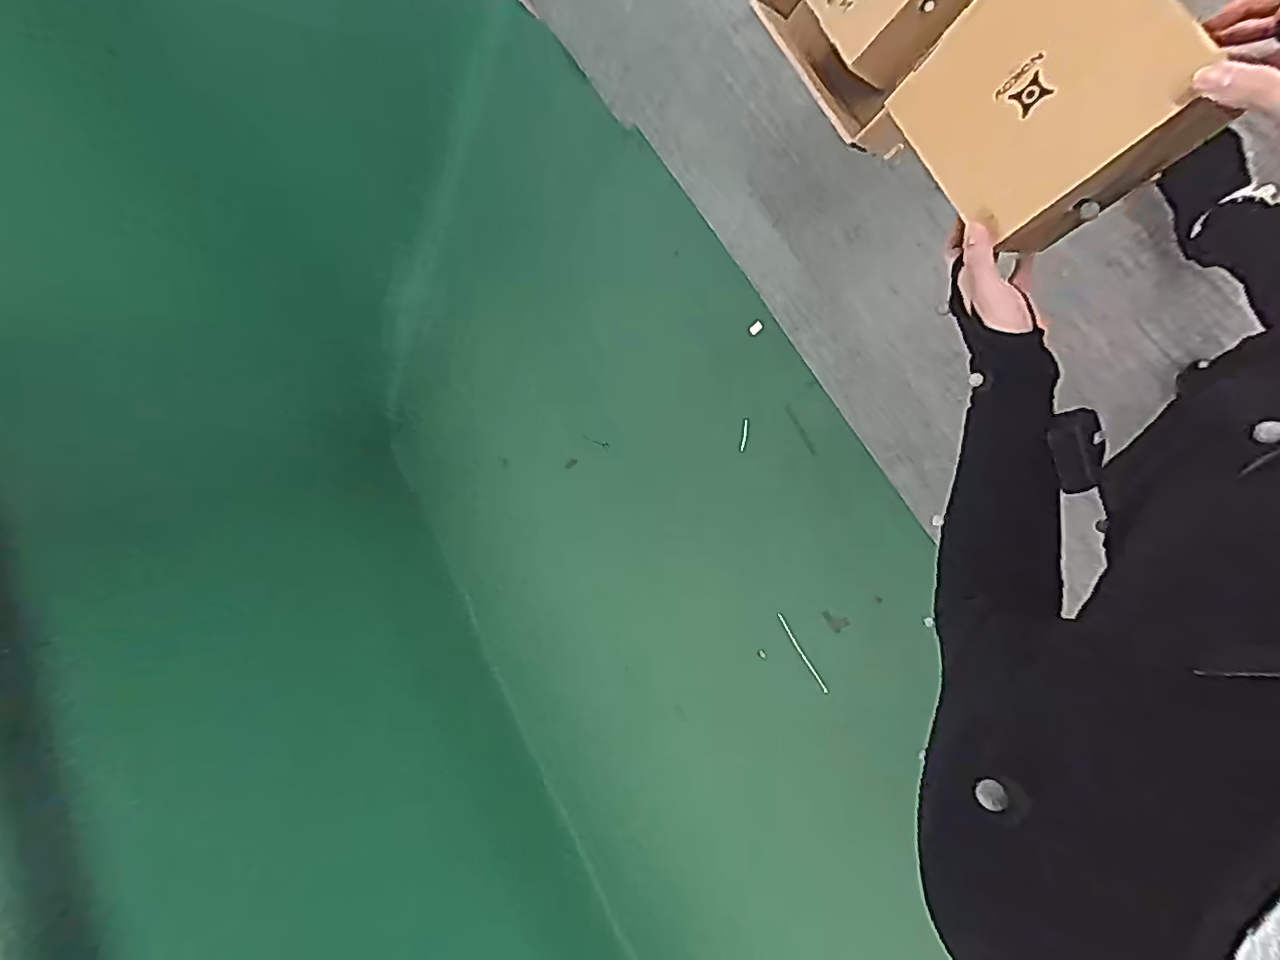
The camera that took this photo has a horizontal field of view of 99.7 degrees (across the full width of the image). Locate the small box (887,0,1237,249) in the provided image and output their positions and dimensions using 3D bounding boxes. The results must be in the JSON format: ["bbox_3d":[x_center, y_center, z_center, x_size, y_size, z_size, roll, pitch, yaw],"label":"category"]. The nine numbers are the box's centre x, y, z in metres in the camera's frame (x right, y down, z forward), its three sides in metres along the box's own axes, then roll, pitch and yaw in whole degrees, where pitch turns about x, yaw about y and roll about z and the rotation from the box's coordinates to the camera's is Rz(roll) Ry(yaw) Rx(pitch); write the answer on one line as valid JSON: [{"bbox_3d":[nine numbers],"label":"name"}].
[{"bbox_3d":[0.368,-0.333,0.478,0.168,0.176,0.179,-39,73,50],"label":"small box"}]
